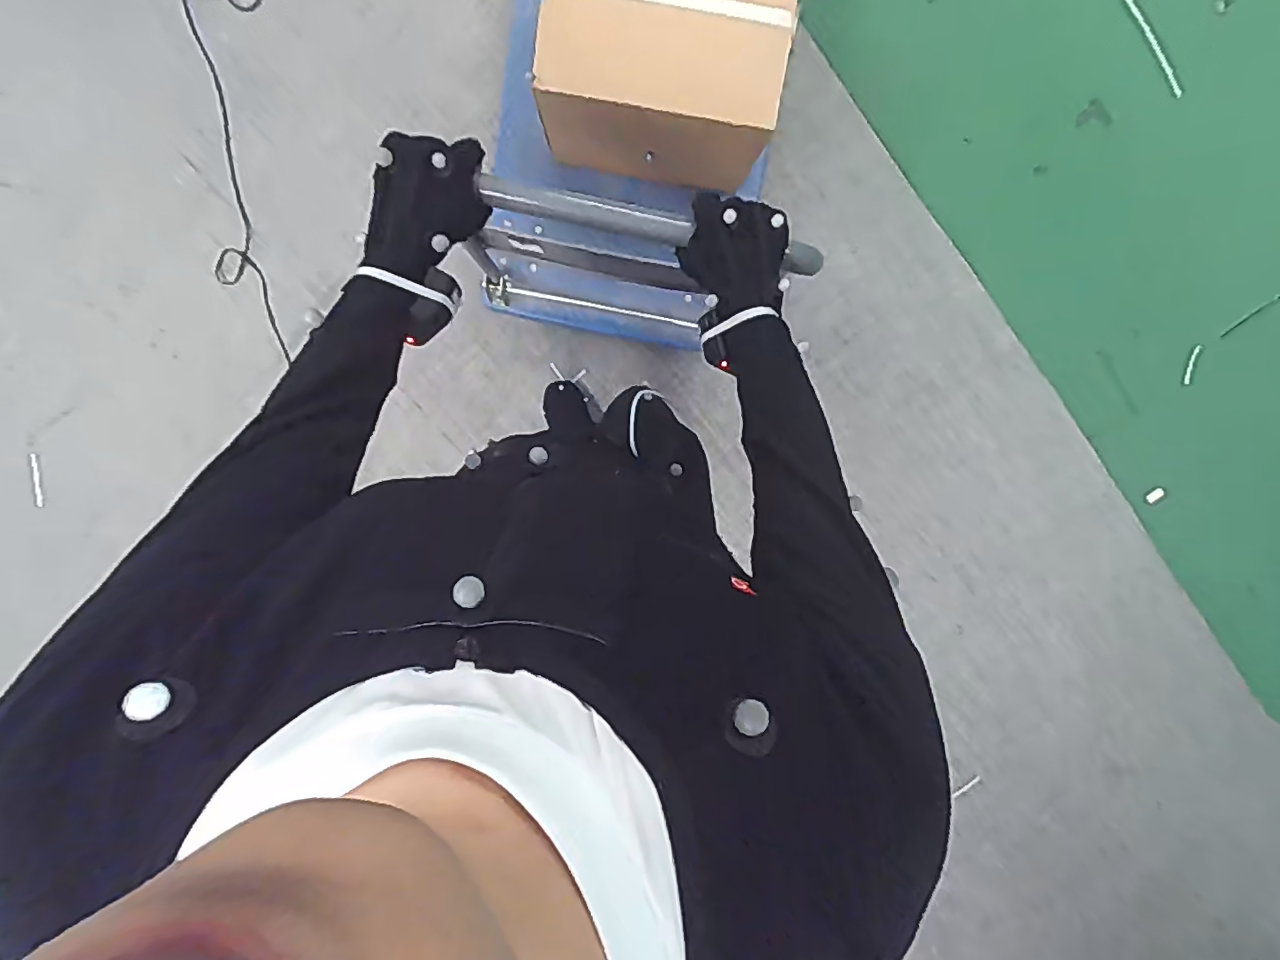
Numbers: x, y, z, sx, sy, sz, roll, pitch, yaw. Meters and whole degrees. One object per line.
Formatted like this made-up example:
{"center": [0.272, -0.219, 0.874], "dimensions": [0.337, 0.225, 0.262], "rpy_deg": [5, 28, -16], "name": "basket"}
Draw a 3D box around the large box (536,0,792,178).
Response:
{"center": [0.042, -0.797, 1.004], "dimensions": [0.408, 0.320, 0.320], "rpy_deg": [7, 100, -3], "name": "large box"}
